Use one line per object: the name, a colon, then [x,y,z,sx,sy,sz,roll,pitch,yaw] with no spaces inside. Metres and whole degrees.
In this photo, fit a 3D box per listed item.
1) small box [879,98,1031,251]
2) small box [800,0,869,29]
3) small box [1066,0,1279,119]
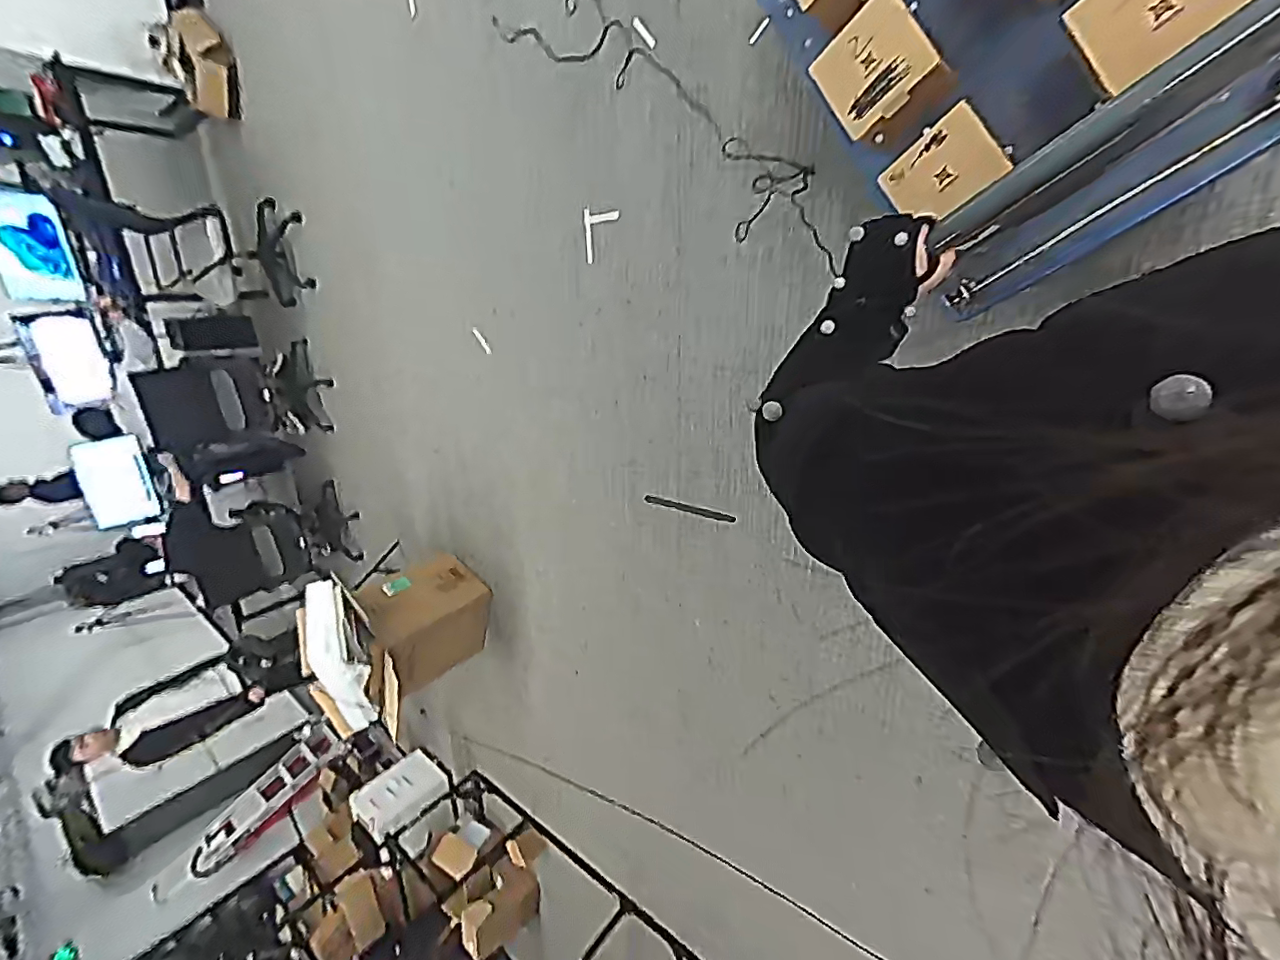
small box: [0.582,-0.547,0.992,0.168,0.176,0.179,-37,82,42]
small box: [0.365,-0.997,1.001,0.168,0.176,0.179,-30,87,43]
small box: [0.764,-0.669,0.791,0.168,0.176,0.179,-31,85,42]
